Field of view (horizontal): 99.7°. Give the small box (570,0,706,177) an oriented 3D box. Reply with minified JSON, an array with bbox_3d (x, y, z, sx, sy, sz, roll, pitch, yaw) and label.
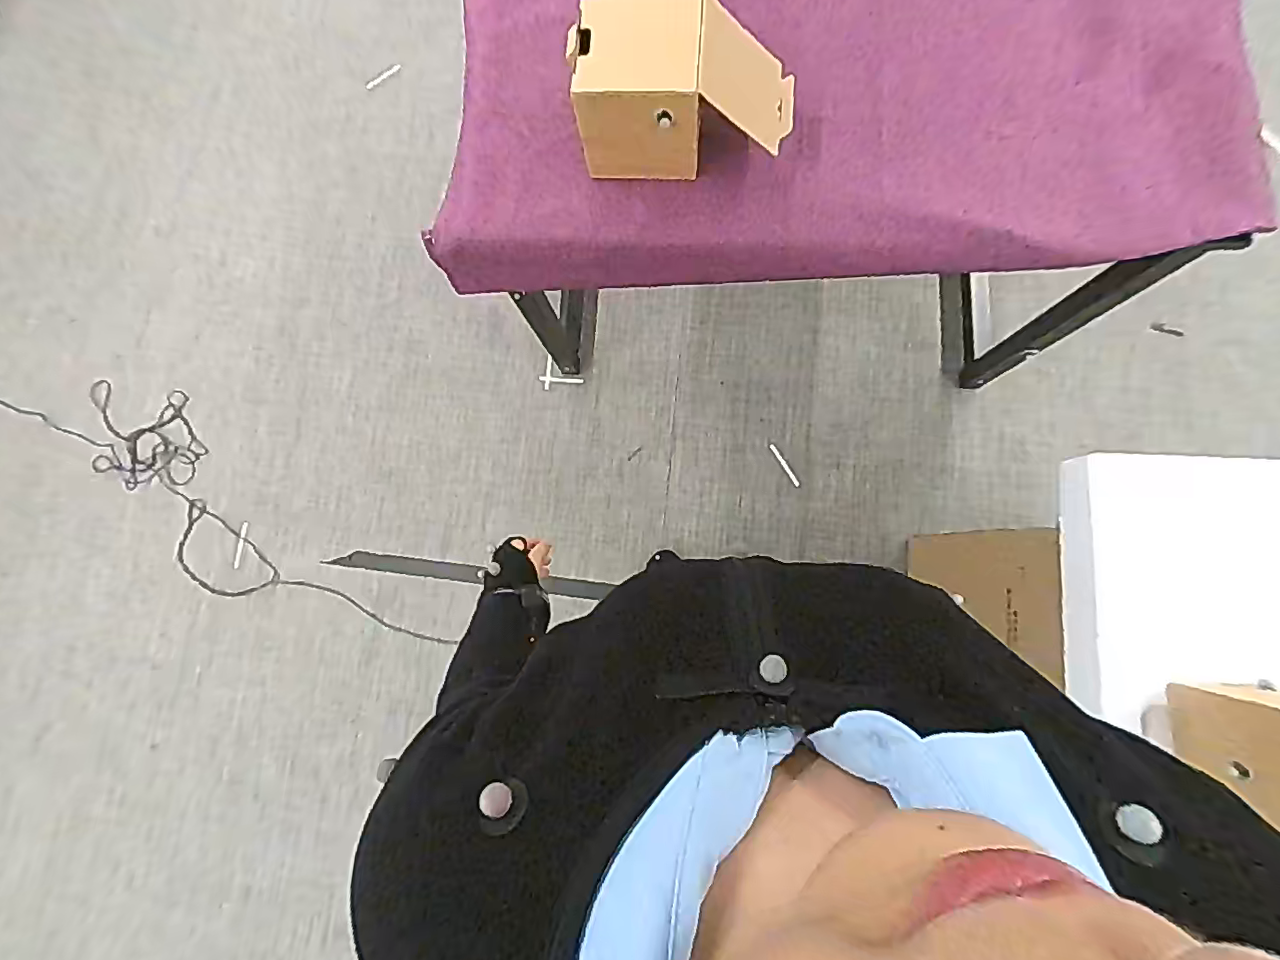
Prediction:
[{"bbox_3d":[0.004,-0.588,0.820,0.179,0.176,0.168,4,80,6],"label":"small box"}]
